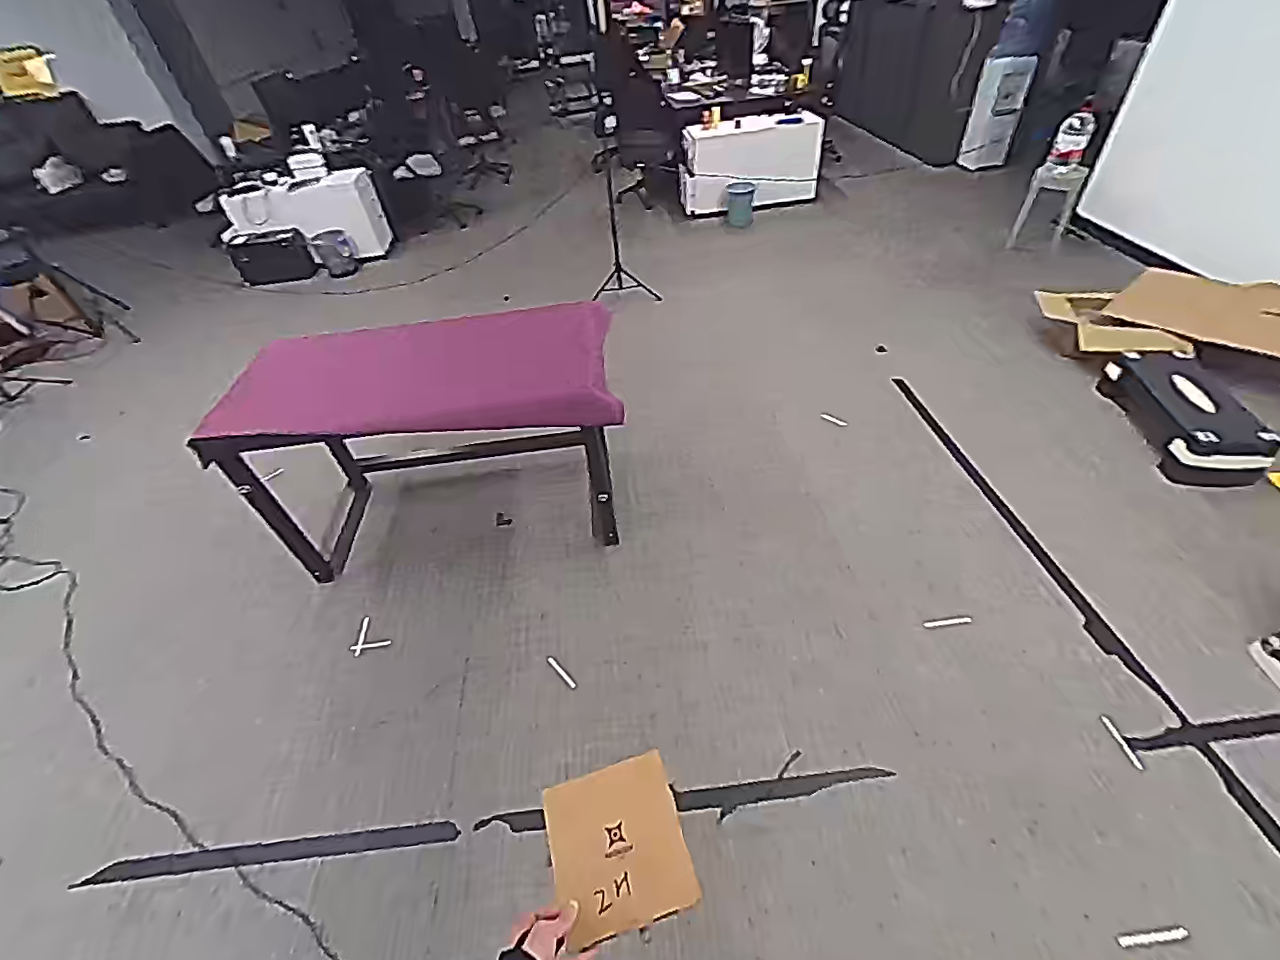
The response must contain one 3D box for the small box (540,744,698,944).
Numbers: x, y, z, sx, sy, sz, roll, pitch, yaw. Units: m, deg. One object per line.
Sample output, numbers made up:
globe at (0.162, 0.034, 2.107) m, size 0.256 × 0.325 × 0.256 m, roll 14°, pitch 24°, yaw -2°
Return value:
small box at (-0.026, 0.493, 0.735) m, size 0.168 × 0.176 × 0.179 m, roll -17°, pitch 52°, yaw -5°
